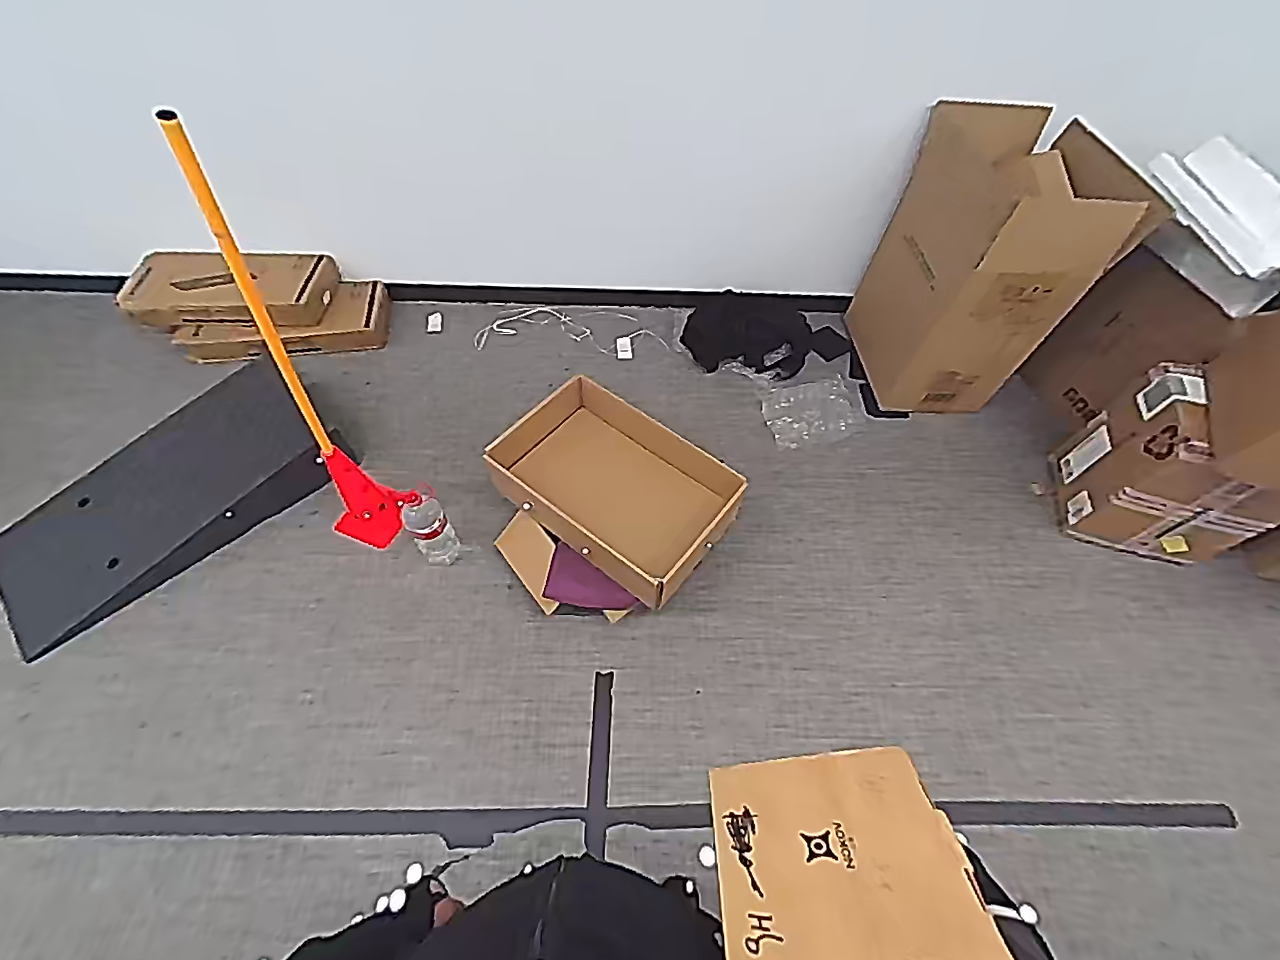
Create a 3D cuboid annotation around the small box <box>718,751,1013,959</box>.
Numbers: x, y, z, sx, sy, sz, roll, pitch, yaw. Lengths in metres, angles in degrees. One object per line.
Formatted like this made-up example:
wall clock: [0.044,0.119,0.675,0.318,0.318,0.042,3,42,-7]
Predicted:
small box: [0.167,0.359,0.444,0.179,0.176,0.168,-10,18,6]
